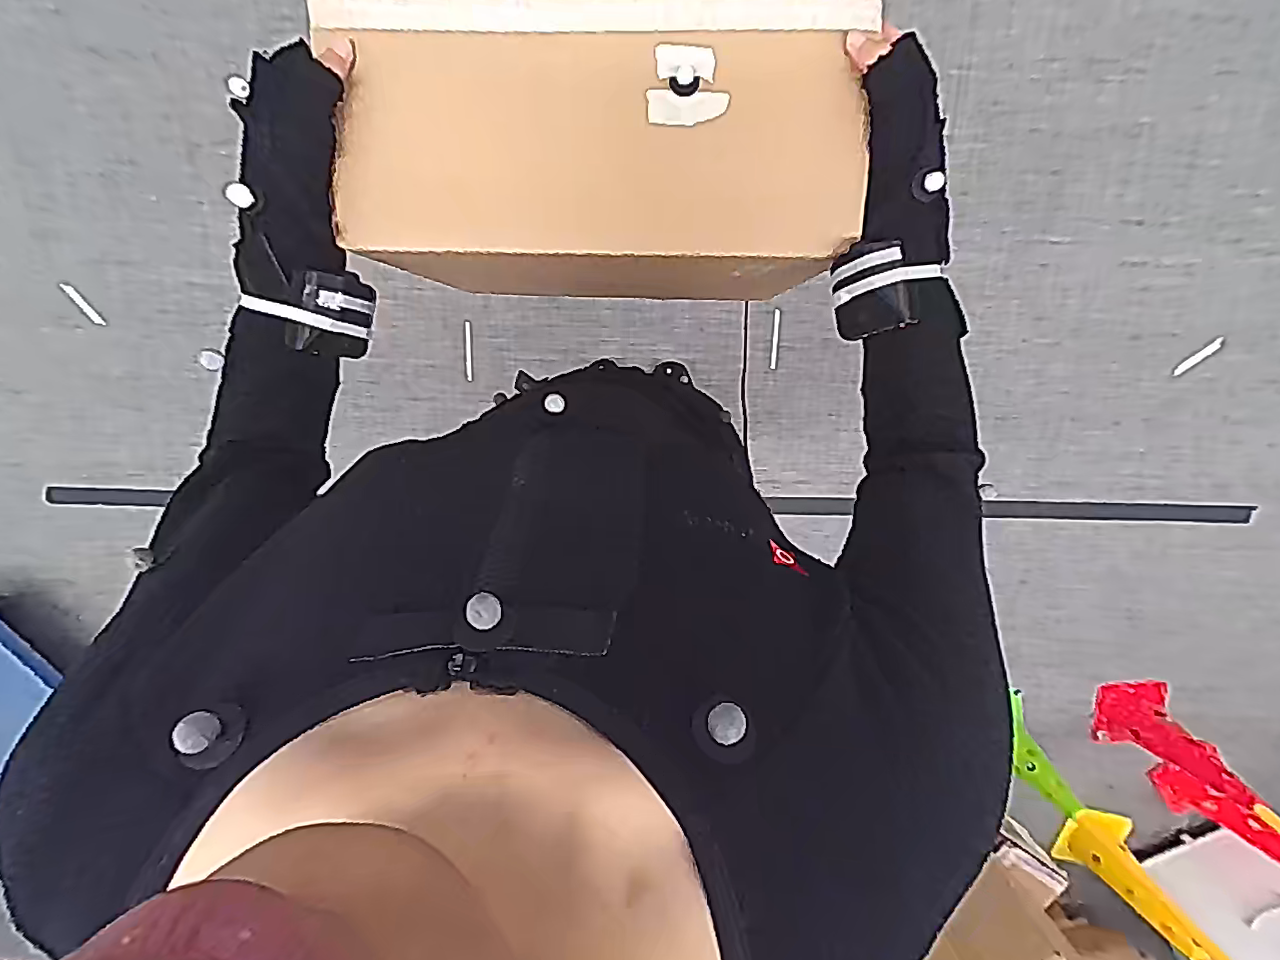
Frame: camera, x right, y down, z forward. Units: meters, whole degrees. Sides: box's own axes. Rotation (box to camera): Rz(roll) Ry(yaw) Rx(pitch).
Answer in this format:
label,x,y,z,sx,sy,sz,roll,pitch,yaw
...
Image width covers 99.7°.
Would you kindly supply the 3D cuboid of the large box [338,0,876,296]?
label,x,y,z,sx,sy,sz,roll,pitch,yaw
large box,-0.025,-0.367,0.543,0.408,0.320,0.320,1,103,1
